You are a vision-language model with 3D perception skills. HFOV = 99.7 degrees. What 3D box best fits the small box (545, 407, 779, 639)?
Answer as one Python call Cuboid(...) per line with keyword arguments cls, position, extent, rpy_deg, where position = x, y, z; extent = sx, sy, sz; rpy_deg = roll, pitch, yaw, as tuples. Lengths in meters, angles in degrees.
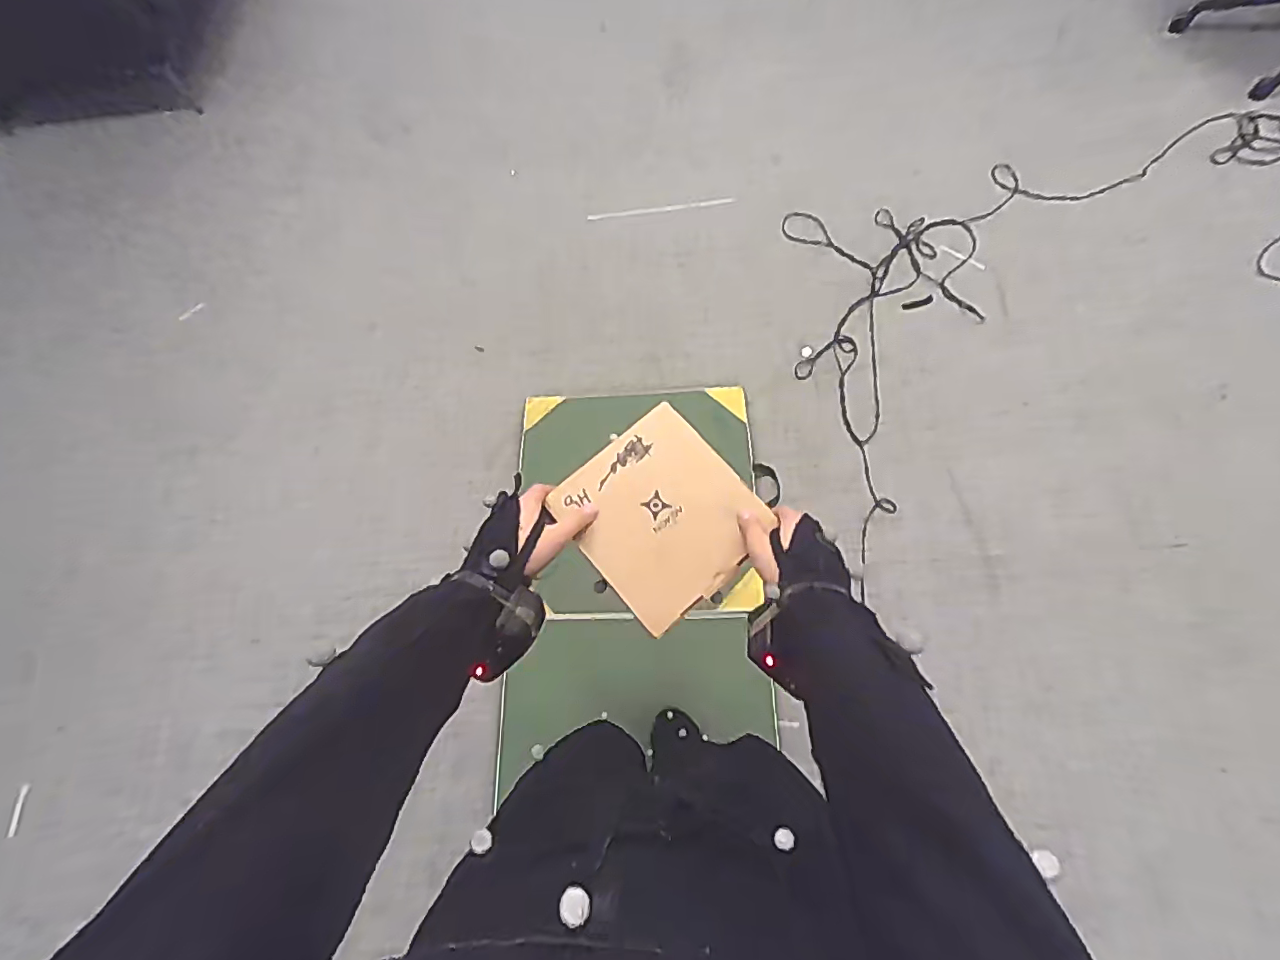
Cuboid(cls="small box", position=(0.022, 0.055, 0.607), extent=(0.168, 0.176, 0.179), rpy_deg=(-39, 78, -10))
